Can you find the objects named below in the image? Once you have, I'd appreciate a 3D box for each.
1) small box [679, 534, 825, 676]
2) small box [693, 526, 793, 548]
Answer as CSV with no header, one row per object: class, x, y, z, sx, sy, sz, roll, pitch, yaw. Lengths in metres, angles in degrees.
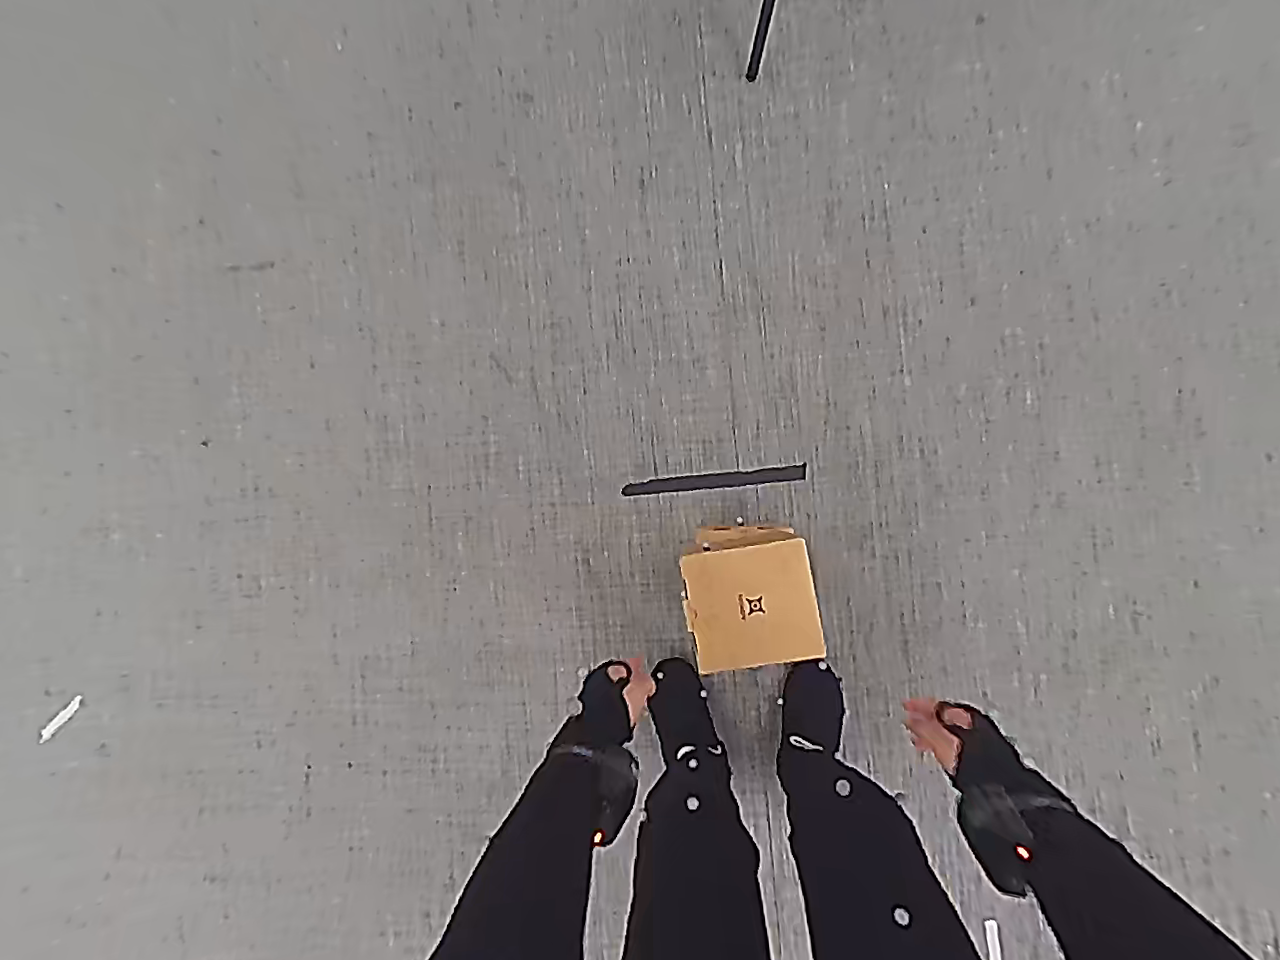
small box,0.160,0.178,0.815,0.179,0.176,0.168,-10,87,7
small box,0.183,0.176,0.977,0.168,0.176,0.179,-2,87,6
